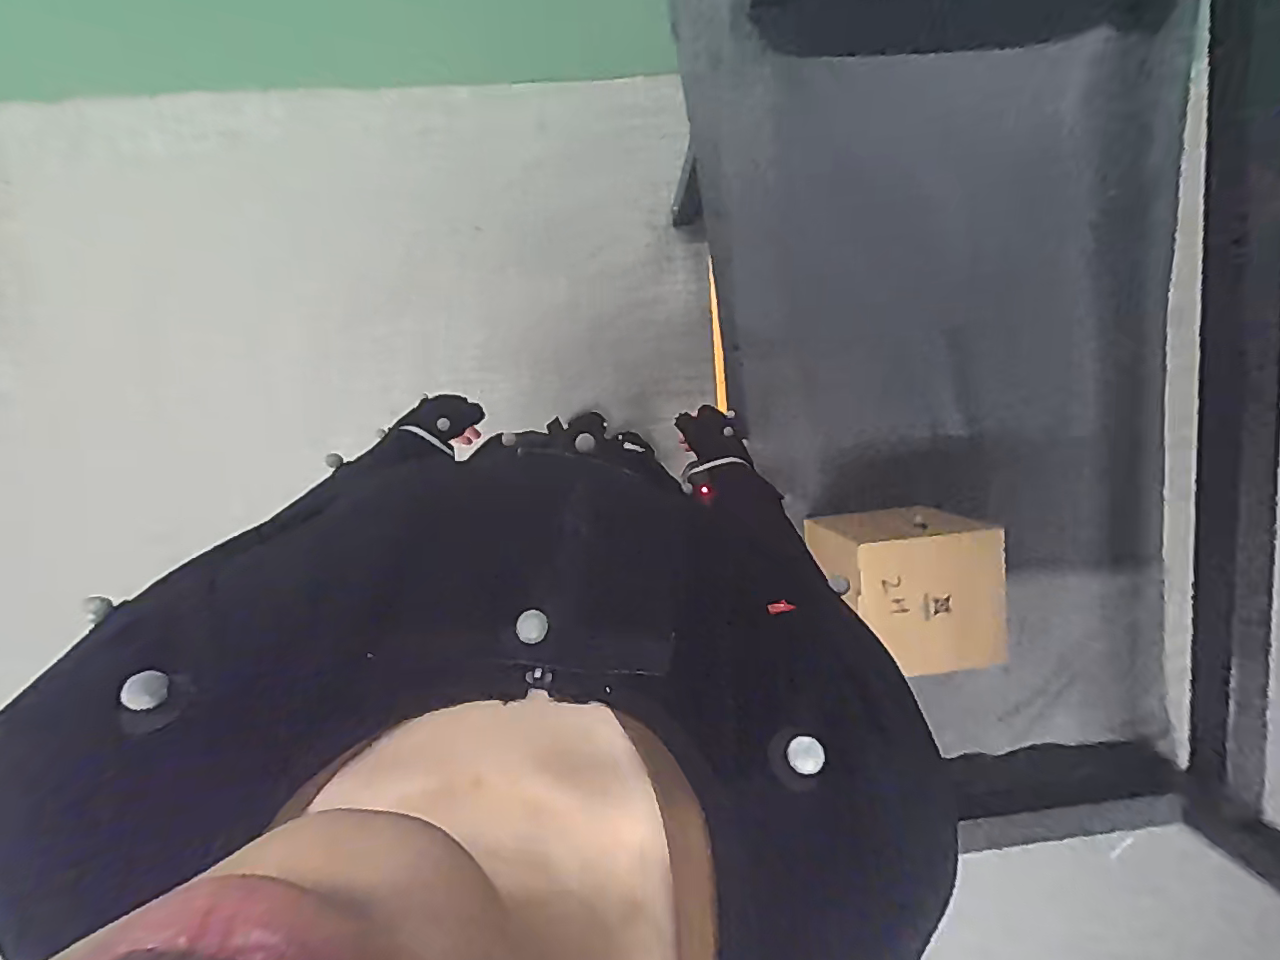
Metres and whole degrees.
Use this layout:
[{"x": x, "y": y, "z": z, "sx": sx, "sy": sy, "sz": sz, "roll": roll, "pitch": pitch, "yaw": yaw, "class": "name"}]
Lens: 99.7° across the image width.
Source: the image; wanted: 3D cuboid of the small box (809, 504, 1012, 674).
[{"x": 0.336, "y": 0.127, "z": 0.695, "sx": 0.179, "sy": 0.176, "sz": 0.168, "roll": -5, "pitch": 95, "yaw": -3, "class": "small box"}]
